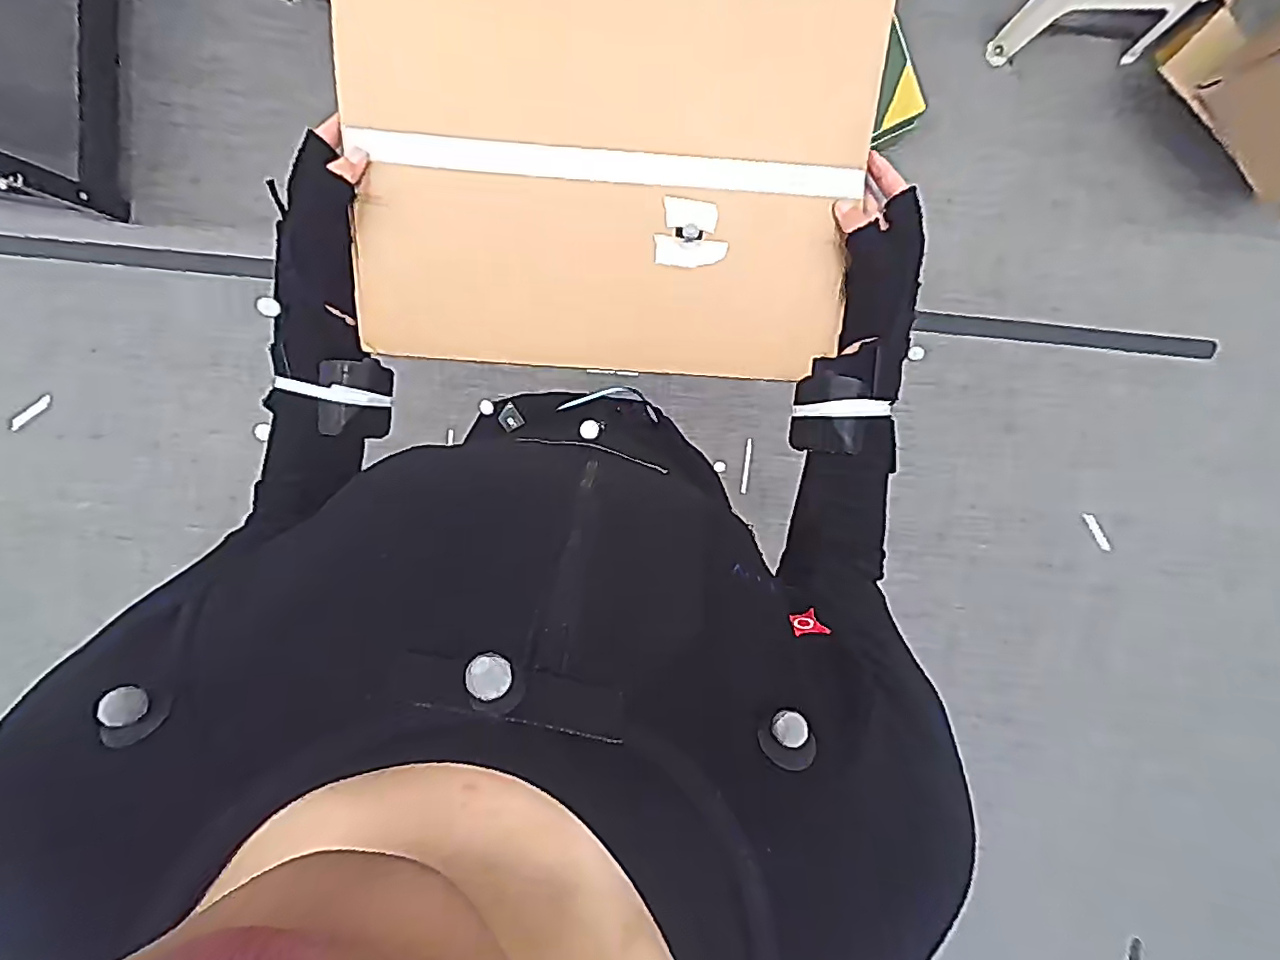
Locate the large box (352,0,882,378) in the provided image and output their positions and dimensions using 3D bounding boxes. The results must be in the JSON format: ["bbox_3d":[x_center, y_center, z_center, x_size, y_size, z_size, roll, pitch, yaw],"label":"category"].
[{"bbox_3d":[-0.029,-0.287,0.580,0.408,0.320,0.320,3,107,-4],"label":"large box"}]
